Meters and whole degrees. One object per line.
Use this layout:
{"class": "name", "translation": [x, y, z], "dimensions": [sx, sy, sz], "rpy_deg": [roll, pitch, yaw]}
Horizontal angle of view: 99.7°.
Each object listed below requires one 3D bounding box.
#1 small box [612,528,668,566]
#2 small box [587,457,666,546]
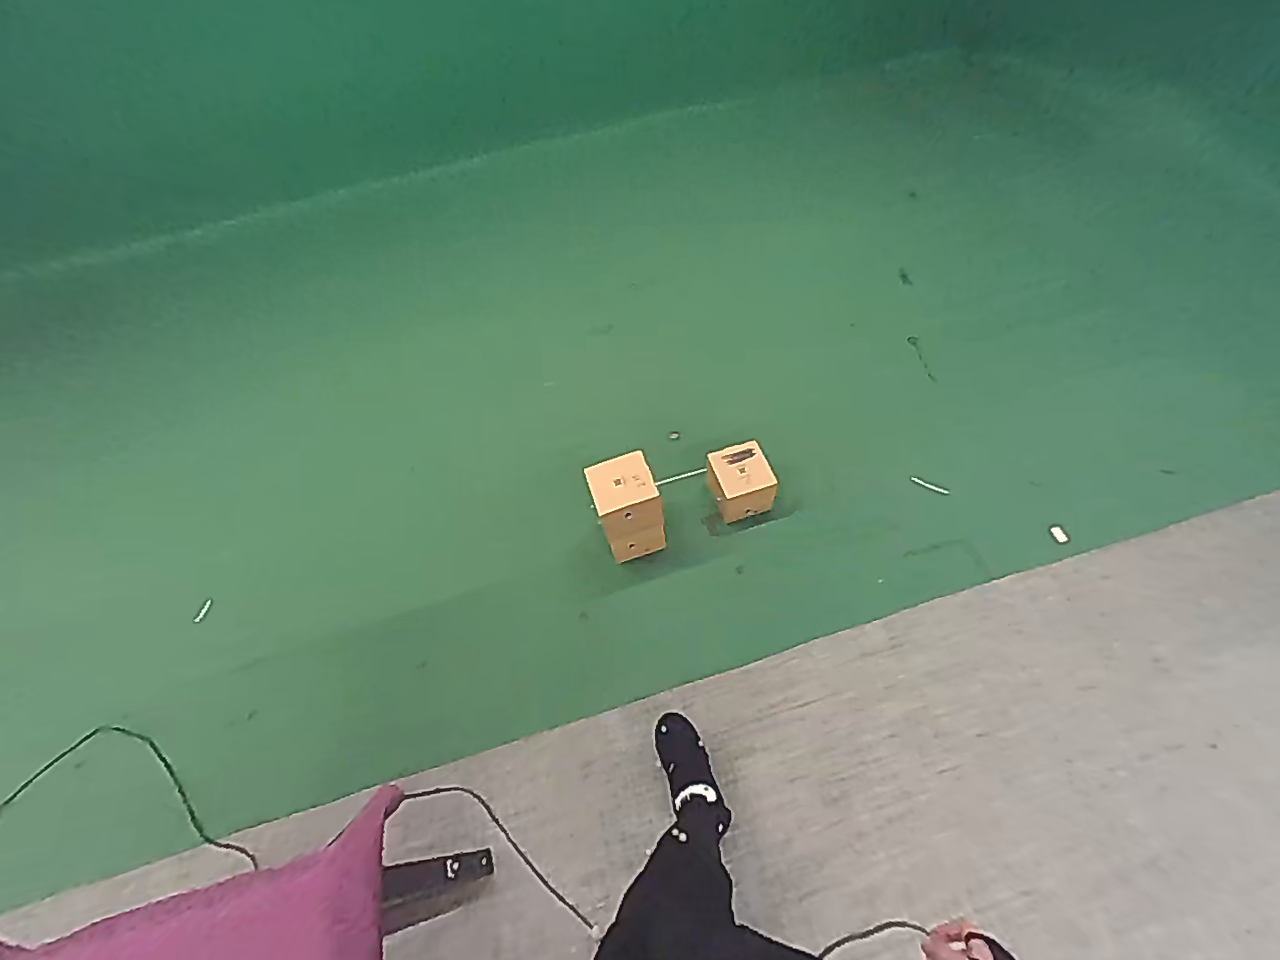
{"class": "small box", "translation": [-0.016, 0.151, 1.693], "dimensions": [0.168, 0.176, 0.179], "rpy_deg": [-19, 56, -5]}
{"class": "small box", "translation": [-0.035, 0.066, 1.553], "dimensions": [0.179, 0.176, 0.168], "rpy_deg": [-18, 57, -5]}
